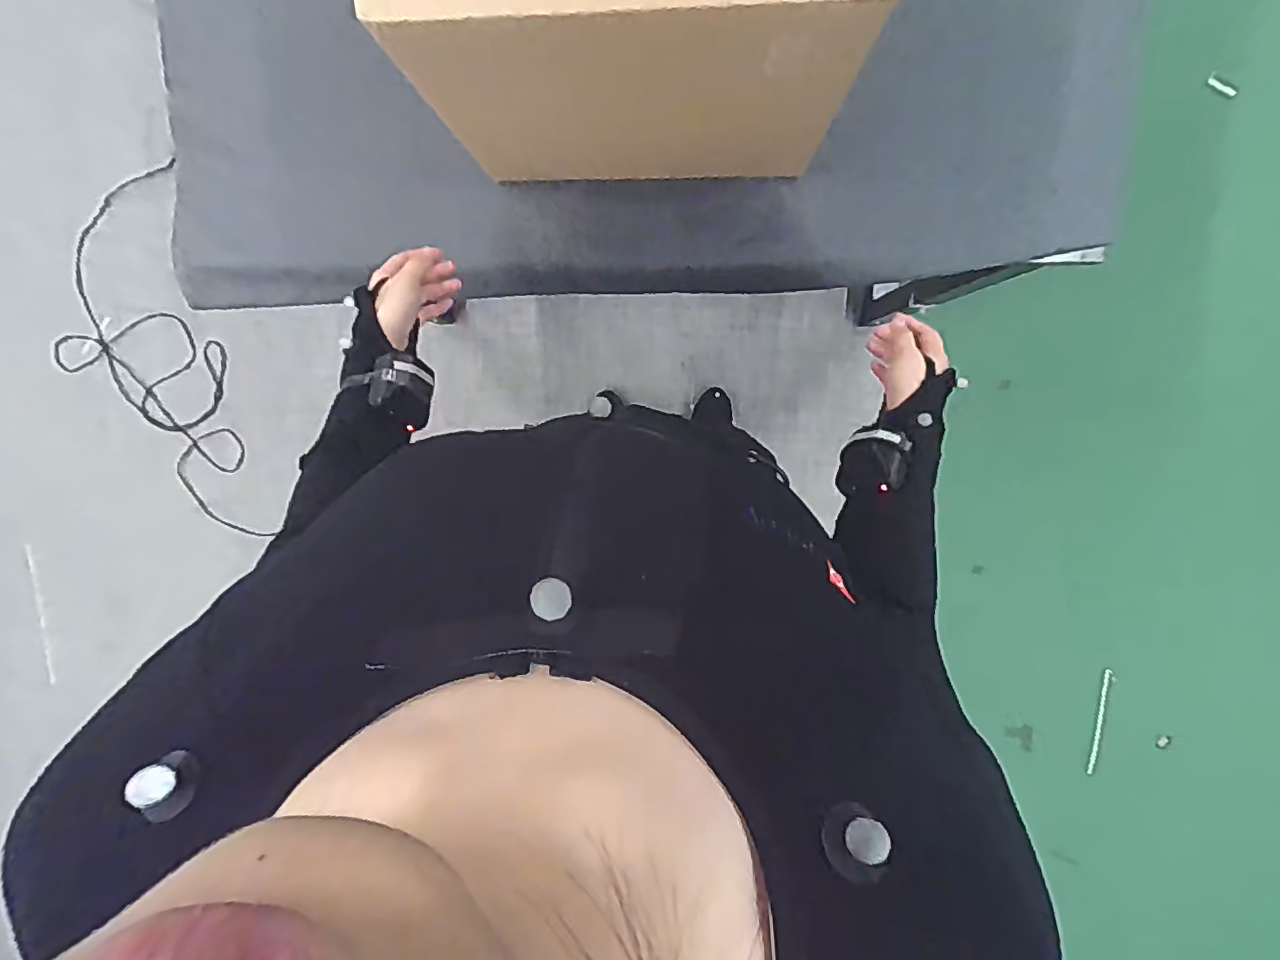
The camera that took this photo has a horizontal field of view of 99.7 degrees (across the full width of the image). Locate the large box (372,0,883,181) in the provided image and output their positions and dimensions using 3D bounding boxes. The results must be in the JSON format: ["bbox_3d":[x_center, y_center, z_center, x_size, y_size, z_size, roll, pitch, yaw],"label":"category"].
[{"bbox_3d":[-0.008,-0.526,0.539,0.408,0.320,0.320,0,99,3],"label":"large box"}]
